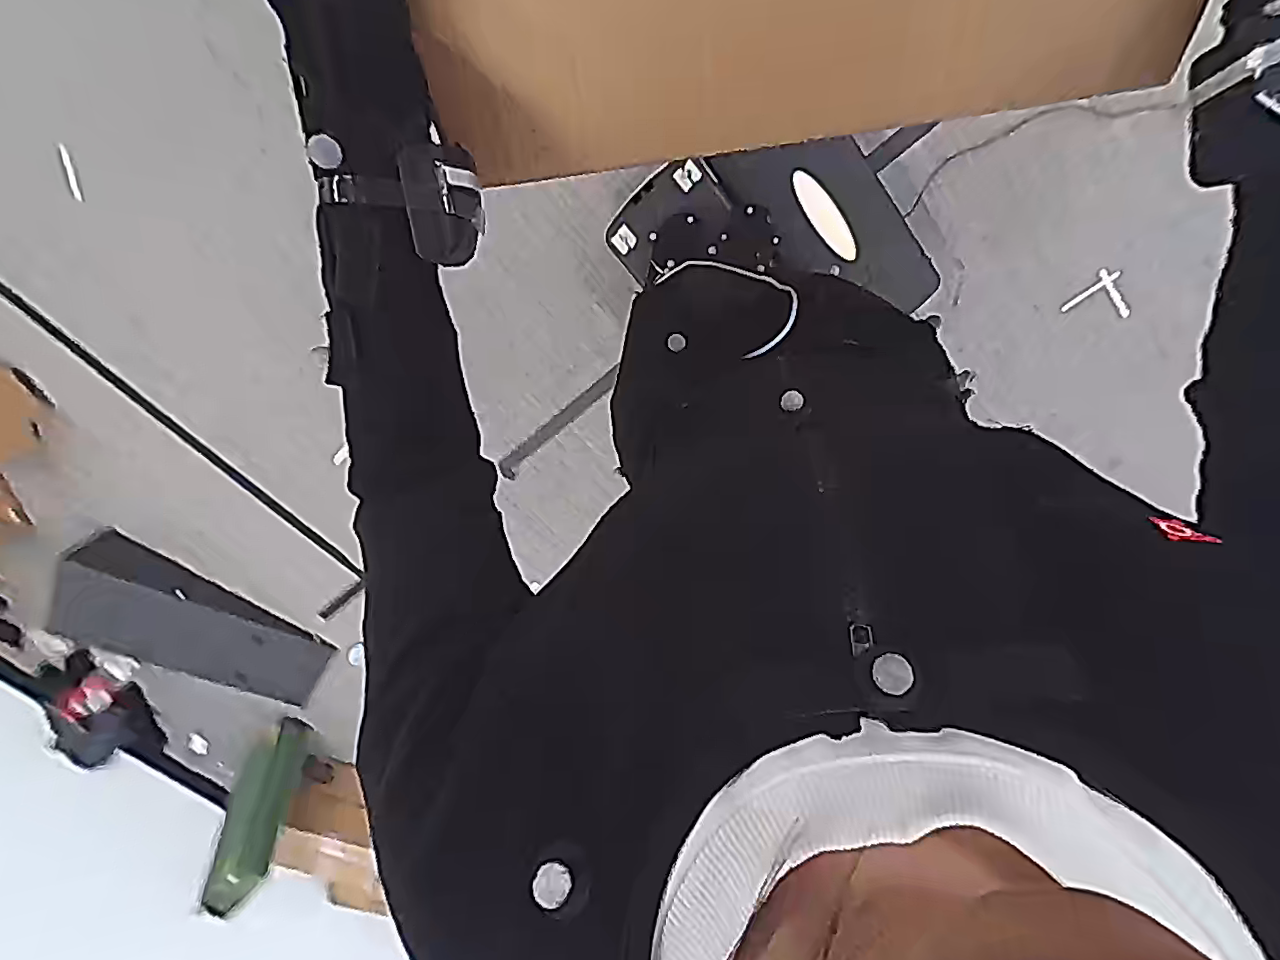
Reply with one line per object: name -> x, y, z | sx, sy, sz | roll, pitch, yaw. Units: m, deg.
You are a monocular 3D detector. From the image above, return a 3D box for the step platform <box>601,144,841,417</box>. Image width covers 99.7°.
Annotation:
step platform -> 0.214, -0.490, 1.392 | 0.286, 0.204, 0.684 | -38, 106, 23

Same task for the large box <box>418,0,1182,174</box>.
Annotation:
large box -> 0.073, -0.428, 0.325 | 0.408, 0.320, 0.320 | -2, 137, 10
